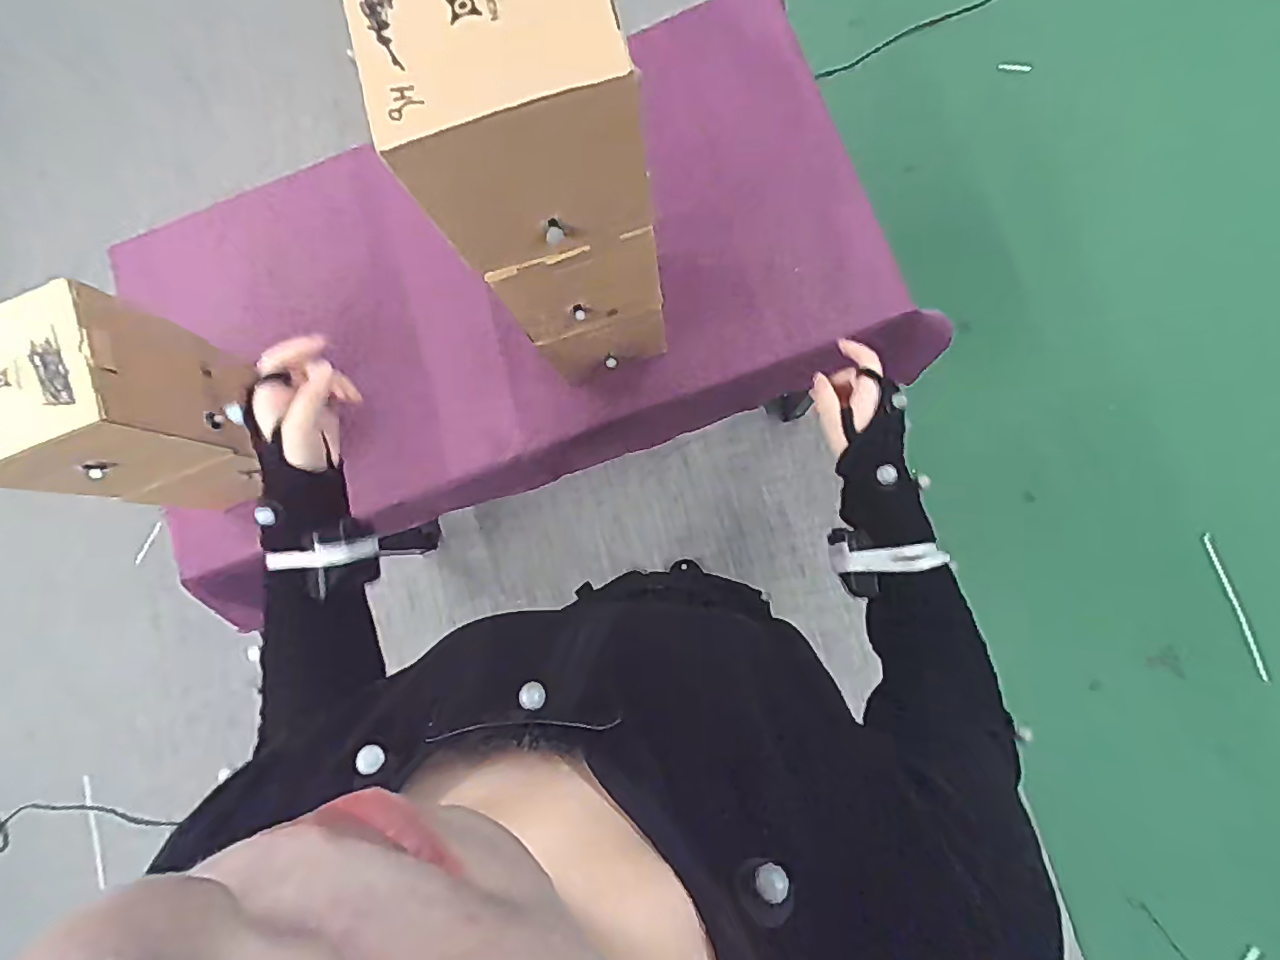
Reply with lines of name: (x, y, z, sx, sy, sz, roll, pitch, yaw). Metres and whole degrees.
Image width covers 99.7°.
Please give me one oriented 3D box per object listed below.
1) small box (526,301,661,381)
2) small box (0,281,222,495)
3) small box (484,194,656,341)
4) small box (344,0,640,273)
small box: (-0.073, -0.262, 0.758, 0.168, 0.176, 0.179, -17, 83, 4)
small box: (-0.629, -0.091, 0.621, 0.179, 0.176, 0.168, -22, 82, 2)
small box: (-0.084, -0.281, 0.596, 0.168, 0.176, 0.179, -17, 84, 3)
small box: (-0.100, -0.296, 0.433, 0.179, 0.176, 0.168, -15, 83, 2)
